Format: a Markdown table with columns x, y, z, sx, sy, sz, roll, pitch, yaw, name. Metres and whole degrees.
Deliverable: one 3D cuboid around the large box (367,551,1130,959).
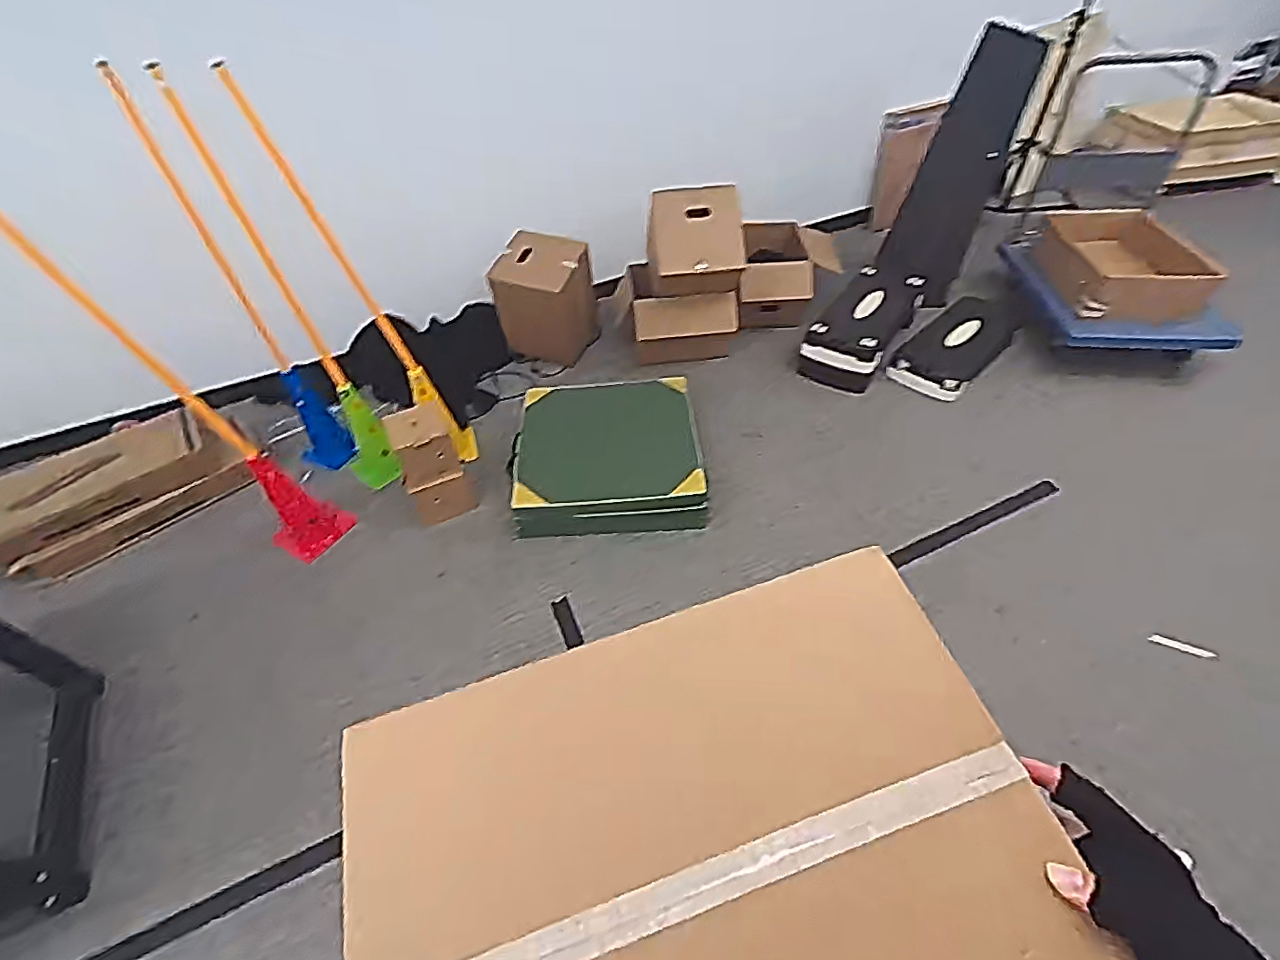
| x | y | z | sx | sy | sz | roll | pitch | yaw | name |
| --- | --- | --- | --- | --- | --- | --- | --- | --- | --- |
| 0.053 | 0.317 | 0.447 | 0.408 | 0.320 | 0.320 | -18 | 58 | -6 | large box |
